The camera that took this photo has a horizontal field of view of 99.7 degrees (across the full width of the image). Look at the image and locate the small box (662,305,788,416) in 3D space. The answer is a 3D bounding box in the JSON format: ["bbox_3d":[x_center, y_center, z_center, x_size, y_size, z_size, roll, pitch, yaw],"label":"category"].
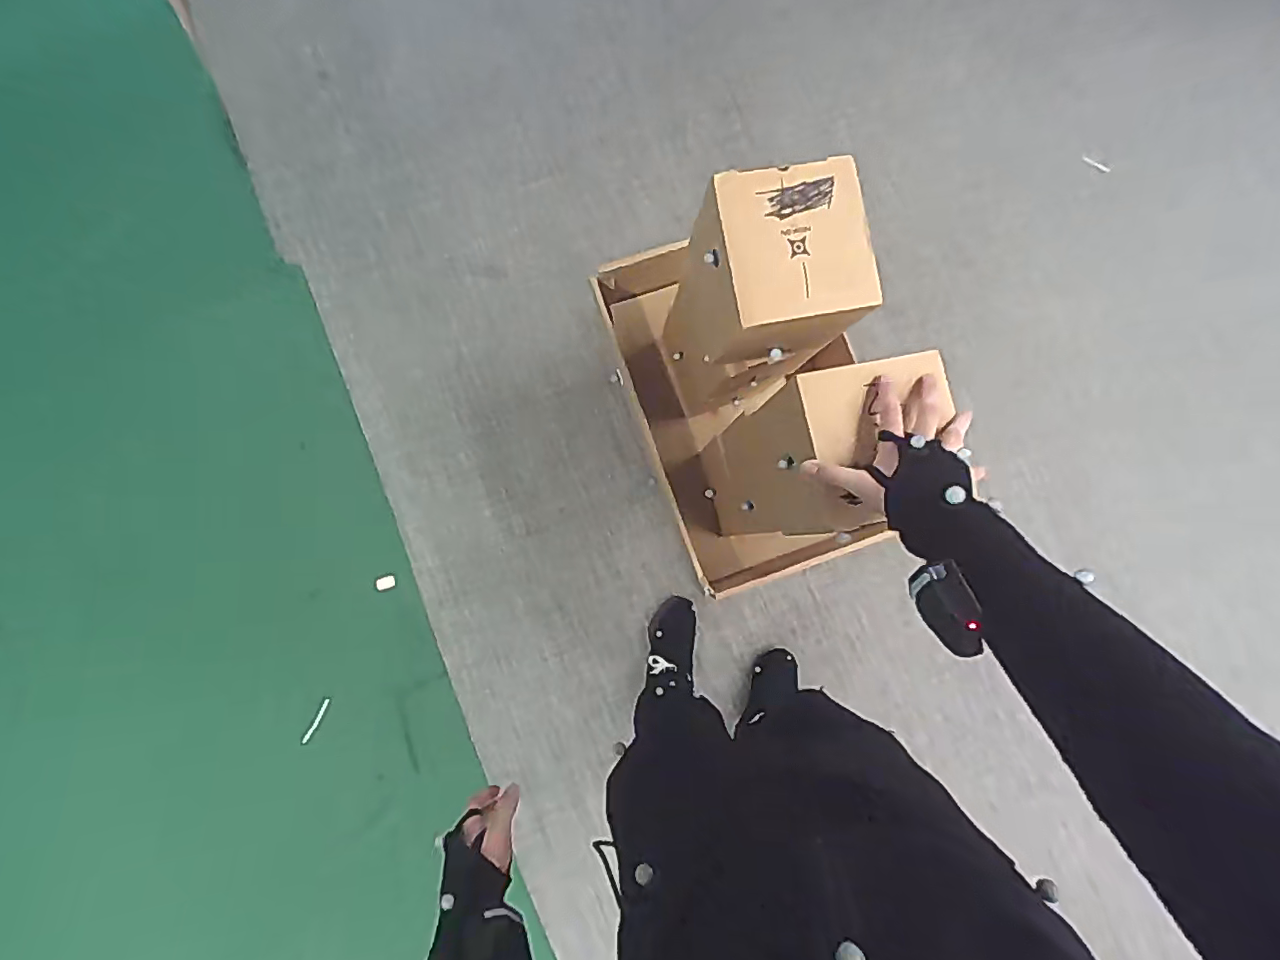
[{"bbox_3d":[0.149,-0.236,1.009,0.168,0.176,0.179,-20,88,-4],"label":"small box"}]

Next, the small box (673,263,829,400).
[{"bbox_3d":[0.161,-0.245,0.847,0.168,0.176,0.179,-20,89,-5],"label":"small box"}]

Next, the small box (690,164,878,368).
[{"bbox_3d":[0.167,-0.258,0.684,0.168,0.176,0.179,-11,88,-5],"label":"small box"}]

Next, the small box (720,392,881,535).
[{"bbox_3d":[0.232,-0.017,0.824,0.168,0.176,0.179,-12,84,-5],"label":"small box"}]
